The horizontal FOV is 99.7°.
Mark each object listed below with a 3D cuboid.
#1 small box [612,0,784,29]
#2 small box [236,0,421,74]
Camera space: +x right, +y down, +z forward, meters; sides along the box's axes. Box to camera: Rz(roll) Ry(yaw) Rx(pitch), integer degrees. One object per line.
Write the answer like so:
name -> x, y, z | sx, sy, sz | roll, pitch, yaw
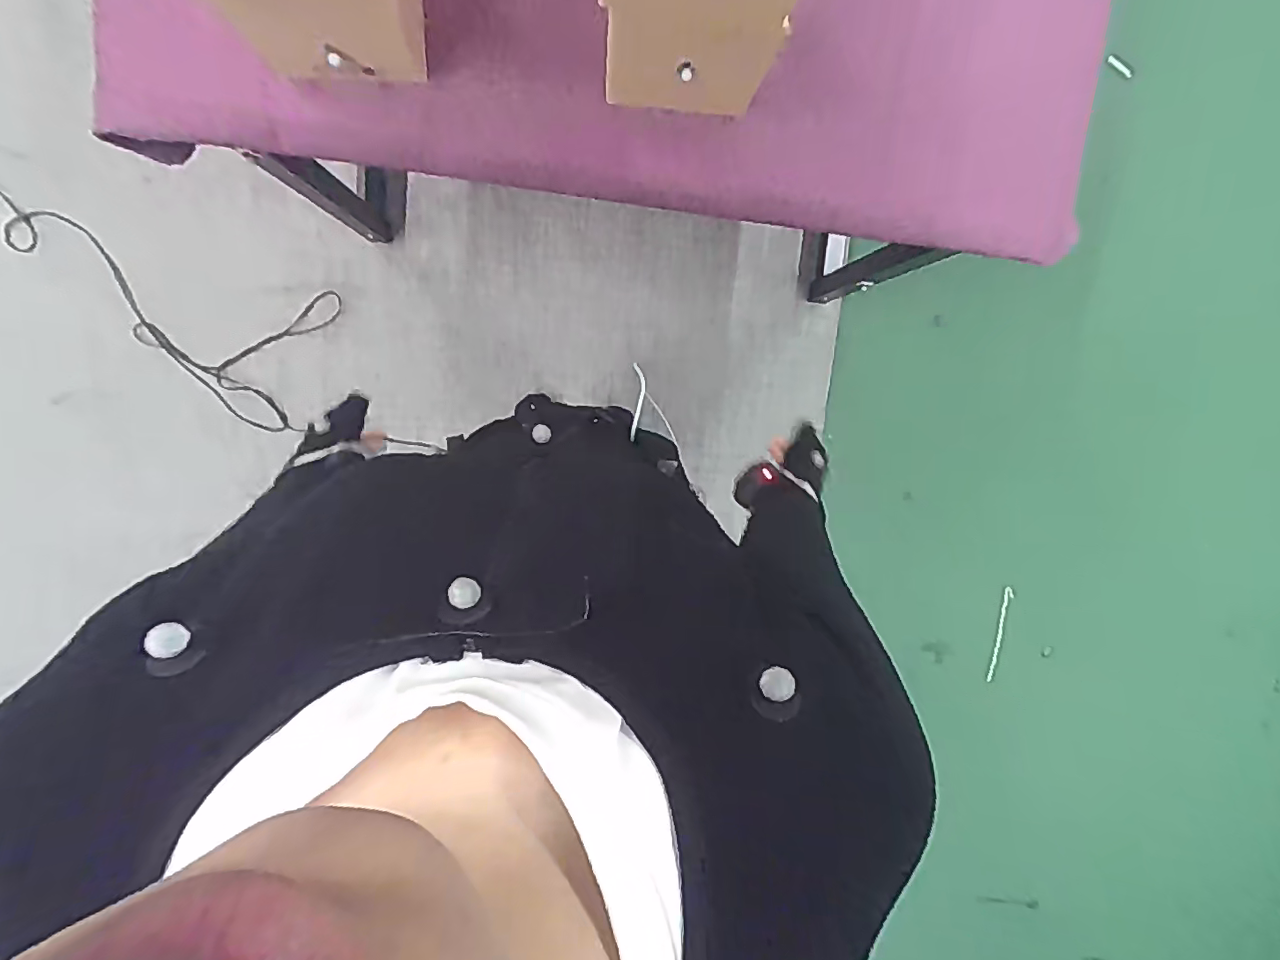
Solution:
small box -> 0.064, -0.510, 0.429 | 0.179, 0.176, 0.168 | 6, 98, -6
small box -> -0.328, -0.556, 0.542 | 0.168, 0.176, 0.179 | -1, 99, -6
